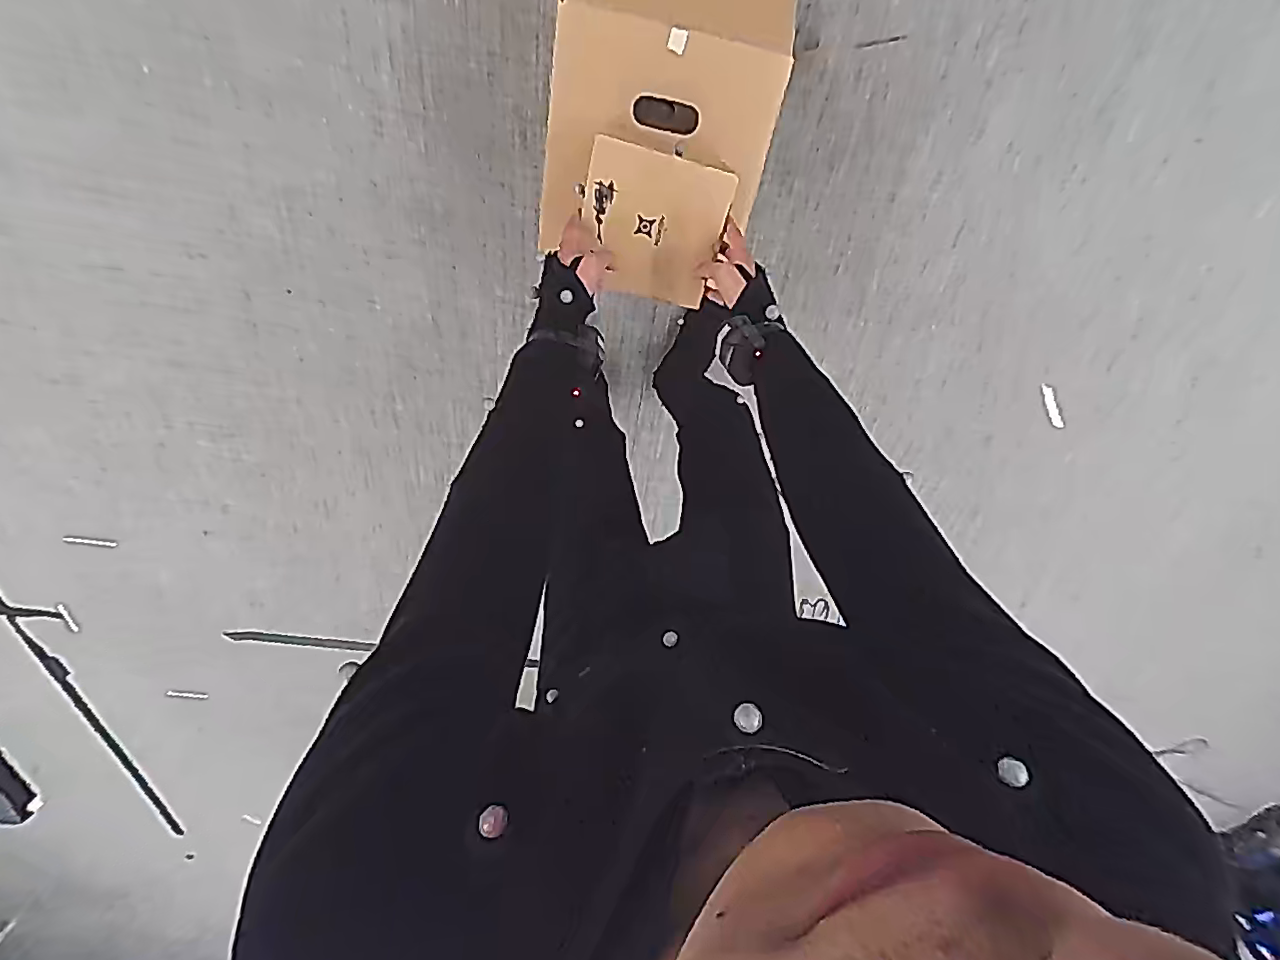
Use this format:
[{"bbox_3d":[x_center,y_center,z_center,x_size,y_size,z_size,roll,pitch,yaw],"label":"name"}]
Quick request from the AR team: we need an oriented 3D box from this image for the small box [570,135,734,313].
[{"bbox_3d":[0.009,-0.355,0.742,0.179,0.176,0.168,11,126,-10],"label":"small box"}]
